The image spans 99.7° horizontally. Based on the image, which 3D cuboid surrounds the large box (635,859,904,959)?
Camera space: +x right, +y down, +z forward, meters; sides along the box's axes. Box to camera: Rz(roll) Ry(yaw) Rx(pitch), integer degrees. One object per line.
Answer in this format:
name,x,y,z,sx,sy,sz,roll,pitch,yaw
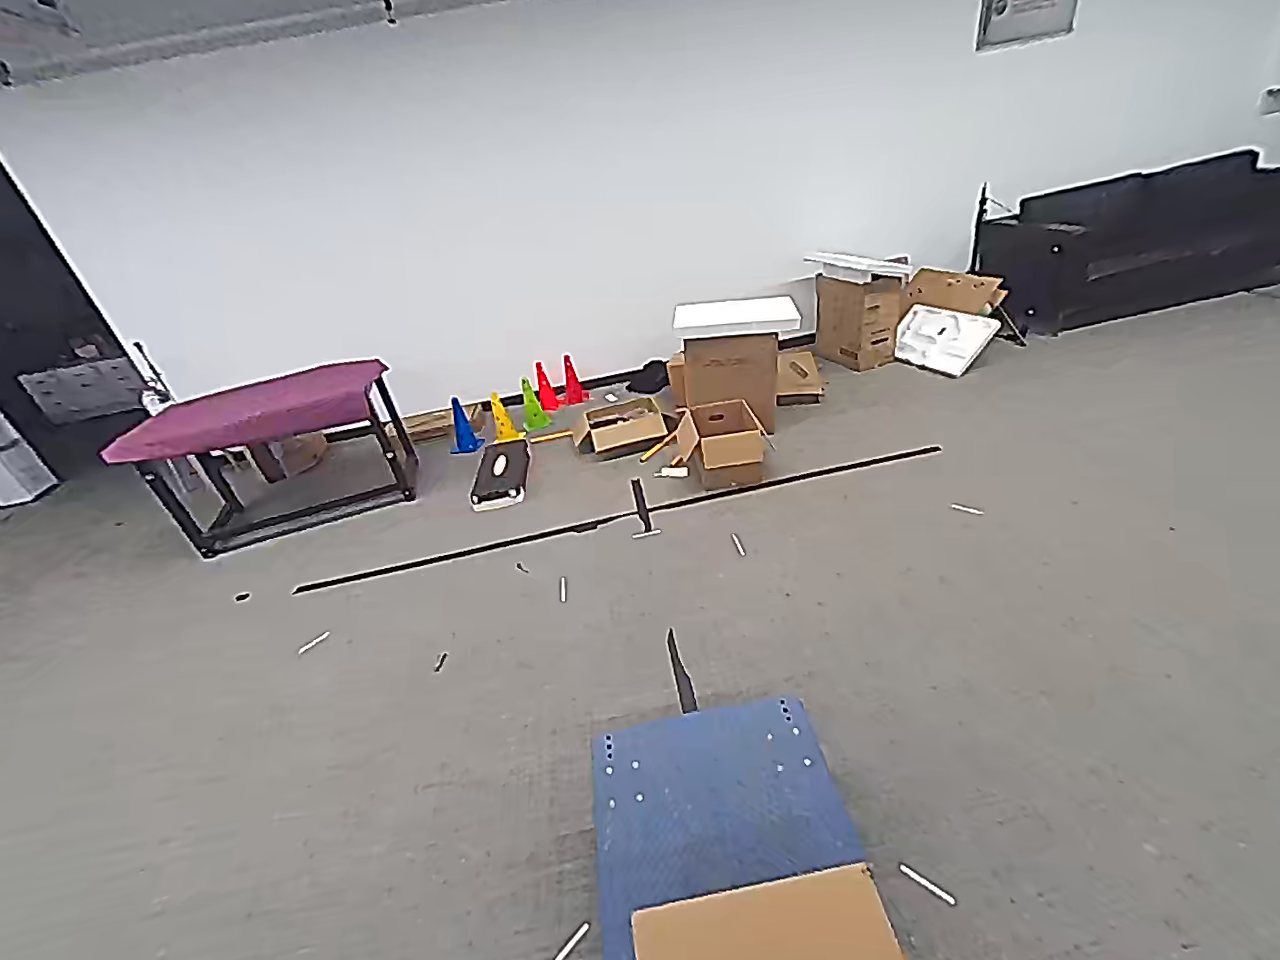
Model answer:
large box,0.226,0.892,0.878,0.408,0.320,0.320,-11,37,-2
